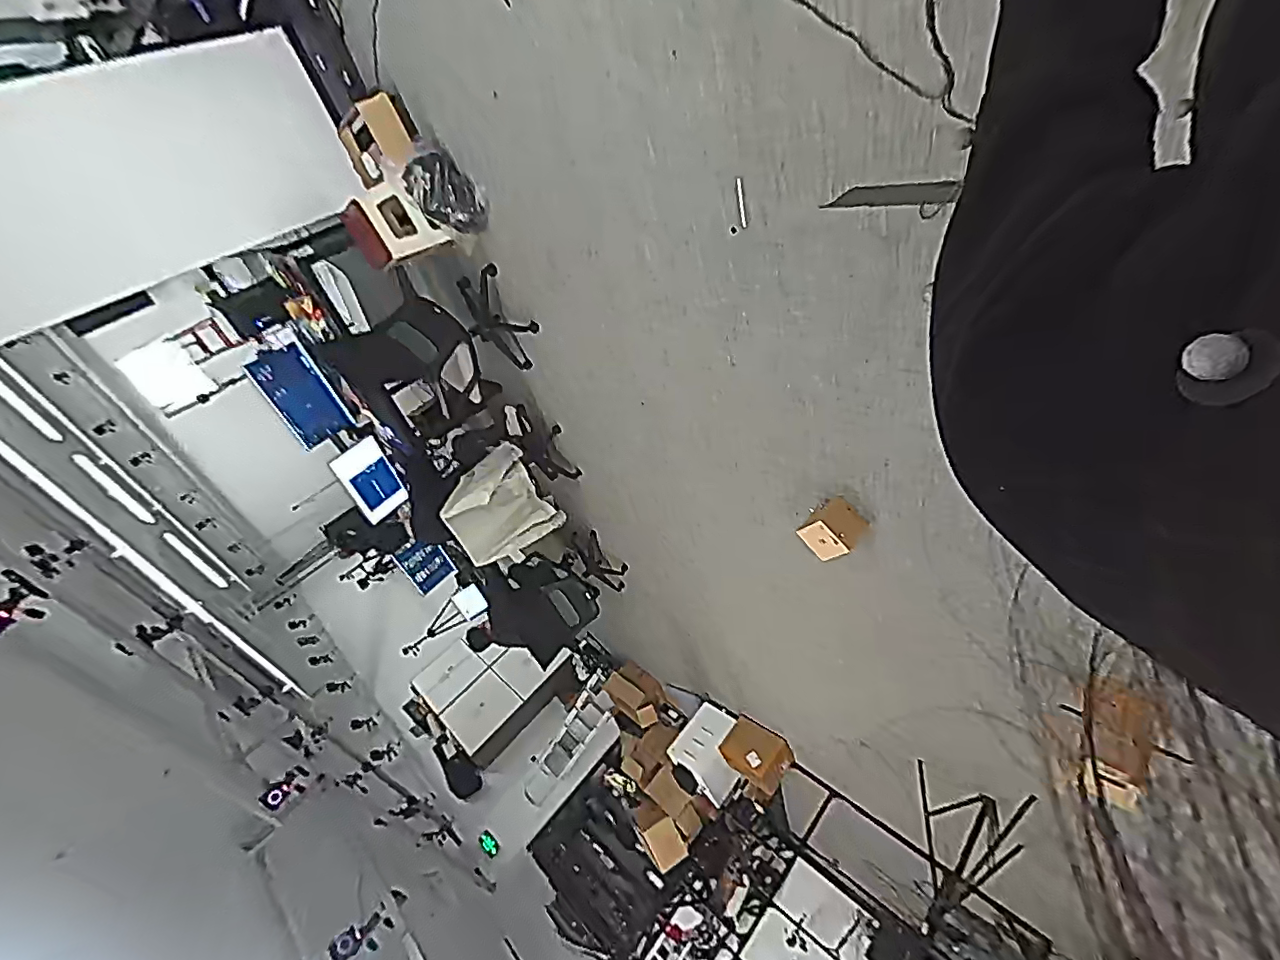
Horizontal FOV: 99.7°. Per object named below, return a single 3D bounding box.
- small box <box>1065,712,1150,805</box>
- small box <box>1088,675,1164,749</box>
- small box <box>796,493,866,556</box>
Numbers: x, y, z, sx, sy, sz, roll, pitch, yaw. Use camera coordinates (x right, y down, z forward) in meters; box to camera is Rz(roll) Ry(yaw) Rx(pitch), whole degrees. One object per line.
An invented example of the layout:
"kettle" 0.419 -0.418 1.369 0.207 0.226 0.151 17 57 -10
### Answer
"small box" 1.498 0.885 1.732 0.168 0.176 0.179 20 142 44
"small box" 1.610 0.788 1.803 0.168 0.176 0.179 19 143 45
"small box" 0.781 0.181 2.202 0.168 0.176 0.179 47 153 3
